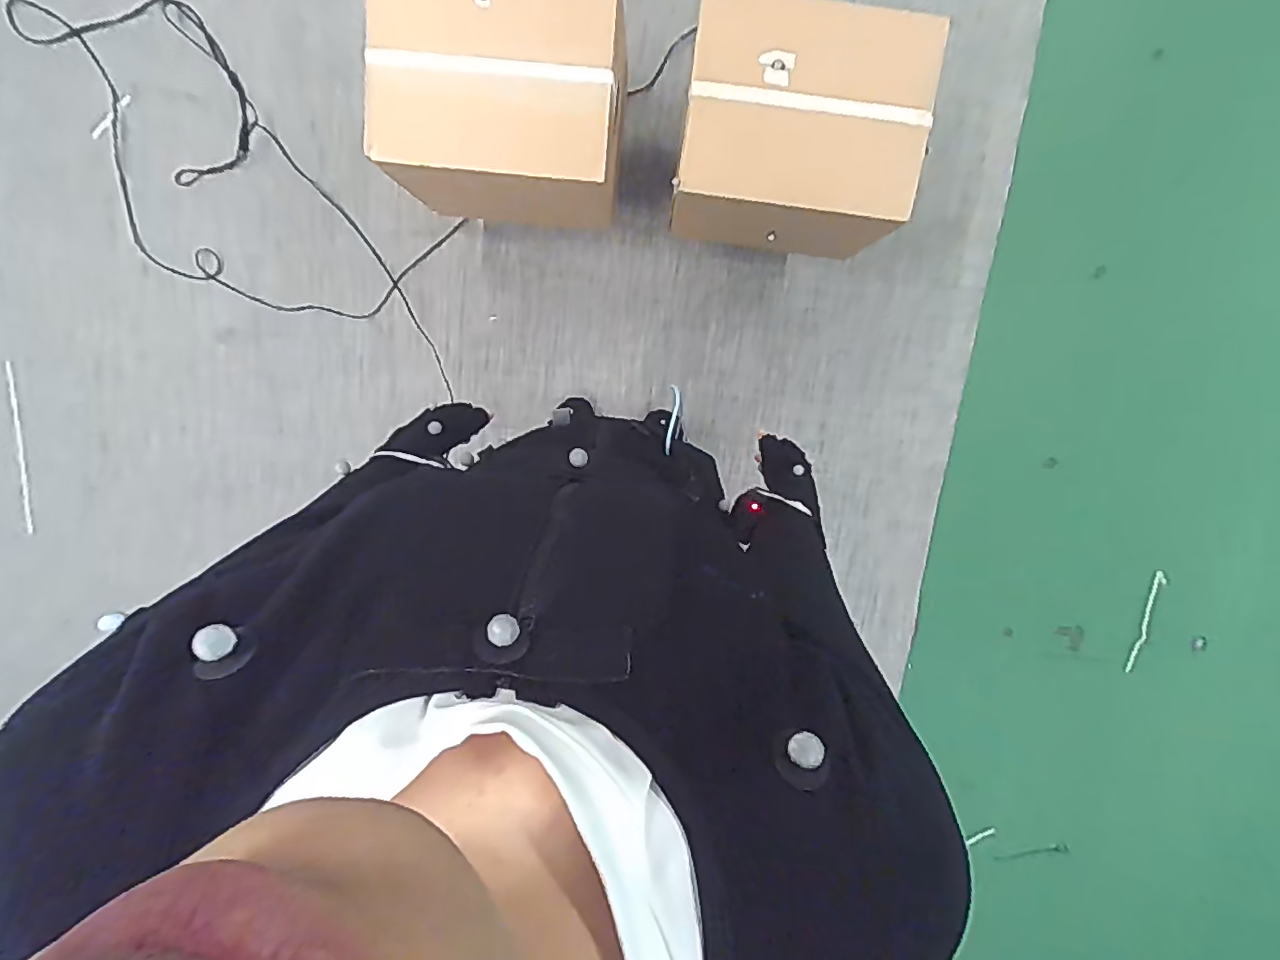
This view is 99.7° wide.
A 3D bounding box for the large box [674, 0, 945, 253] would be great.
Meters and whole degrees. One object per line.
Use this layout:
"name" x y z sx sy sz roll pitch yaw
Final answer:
"large box" 0.290 -0.653 1.054 0.408 0.320 0.320 8 101 -1
